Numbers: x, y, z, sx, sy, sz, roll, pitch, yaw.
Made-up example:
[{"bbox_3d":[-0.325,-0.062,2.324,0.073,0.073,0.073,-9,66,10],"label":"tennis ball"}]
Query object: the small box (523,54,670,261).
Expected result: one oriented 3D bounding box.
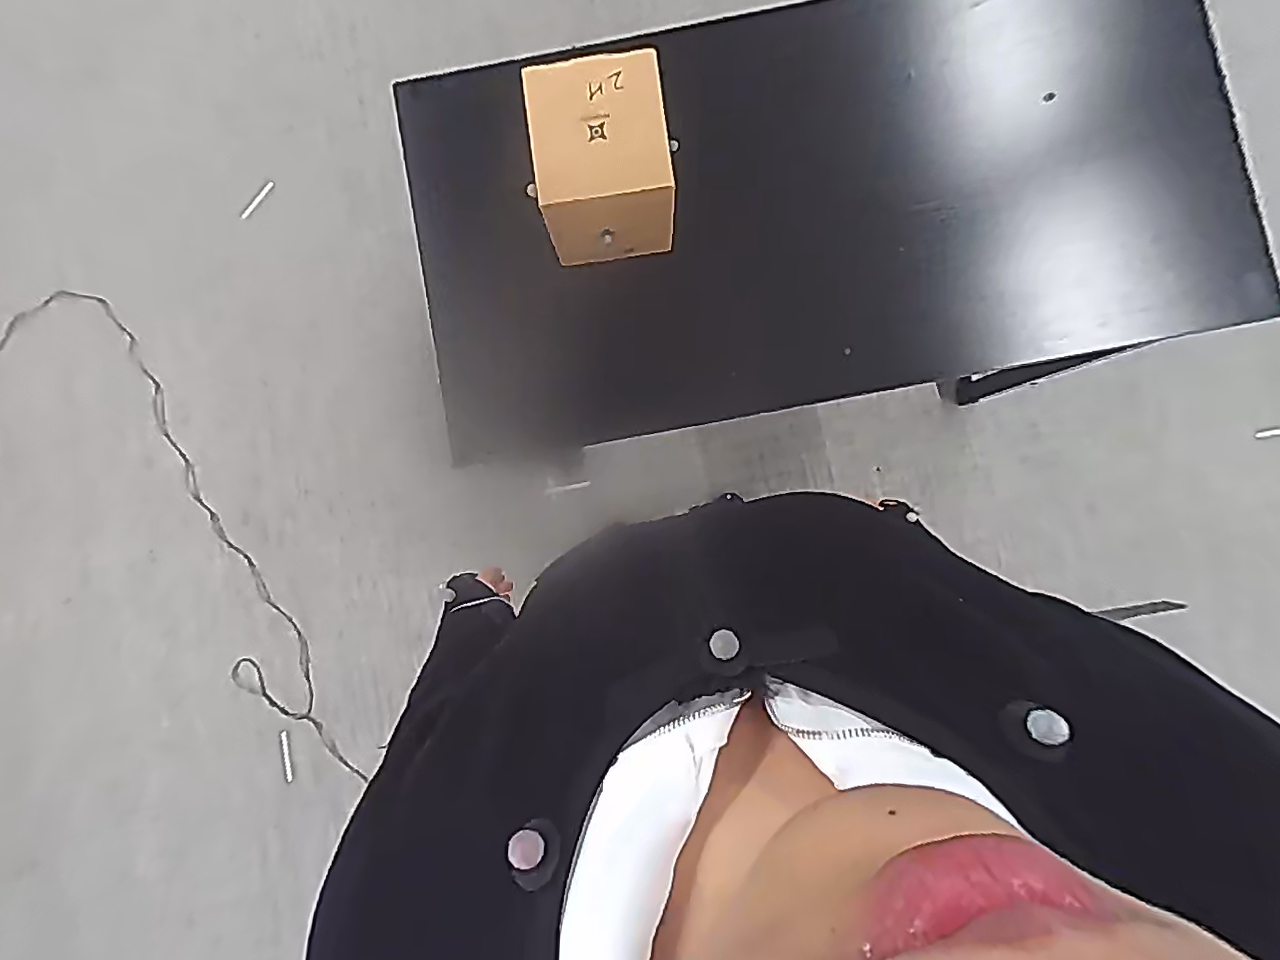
[{"bbox_3d":[-0.049,-0.416,0.731,0.168,0.176,0.179,-8,86,2],"label":"small box"}]
